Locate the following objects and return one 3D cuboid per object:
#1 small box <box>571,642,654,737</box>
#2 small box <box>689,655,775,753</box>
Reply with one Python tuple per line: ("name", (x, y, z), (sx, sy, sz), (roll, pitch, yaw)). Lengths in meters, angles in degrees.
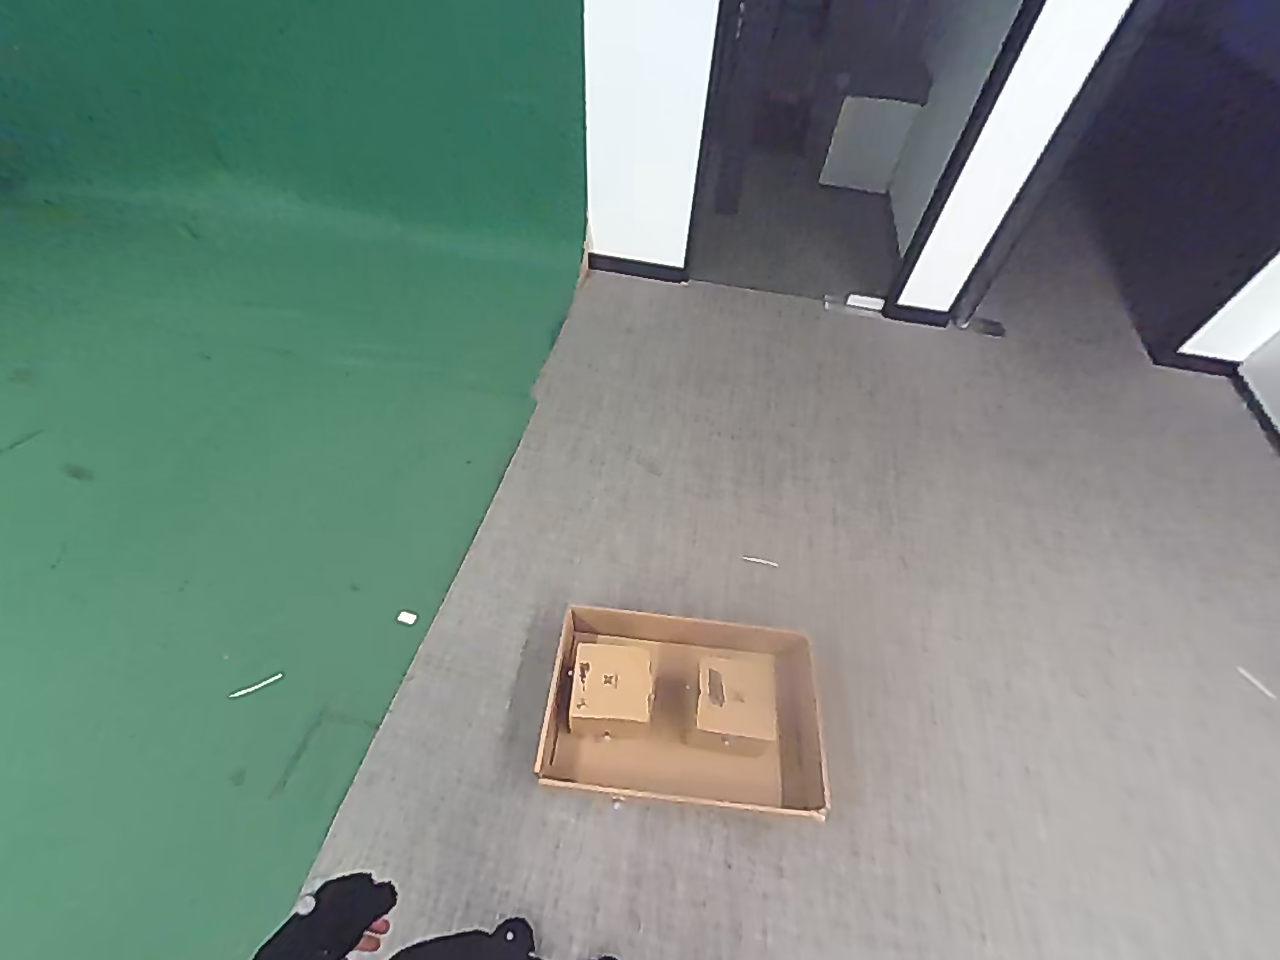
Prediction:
("small box", (-0.066, 0.501, 1.281), (0.179, 0.176, 0.168), (5, 51, -2))
("small box", (0.213, 0.532, 1.277), (0.179, 0.176, 0.168), (8, 52, 3))
